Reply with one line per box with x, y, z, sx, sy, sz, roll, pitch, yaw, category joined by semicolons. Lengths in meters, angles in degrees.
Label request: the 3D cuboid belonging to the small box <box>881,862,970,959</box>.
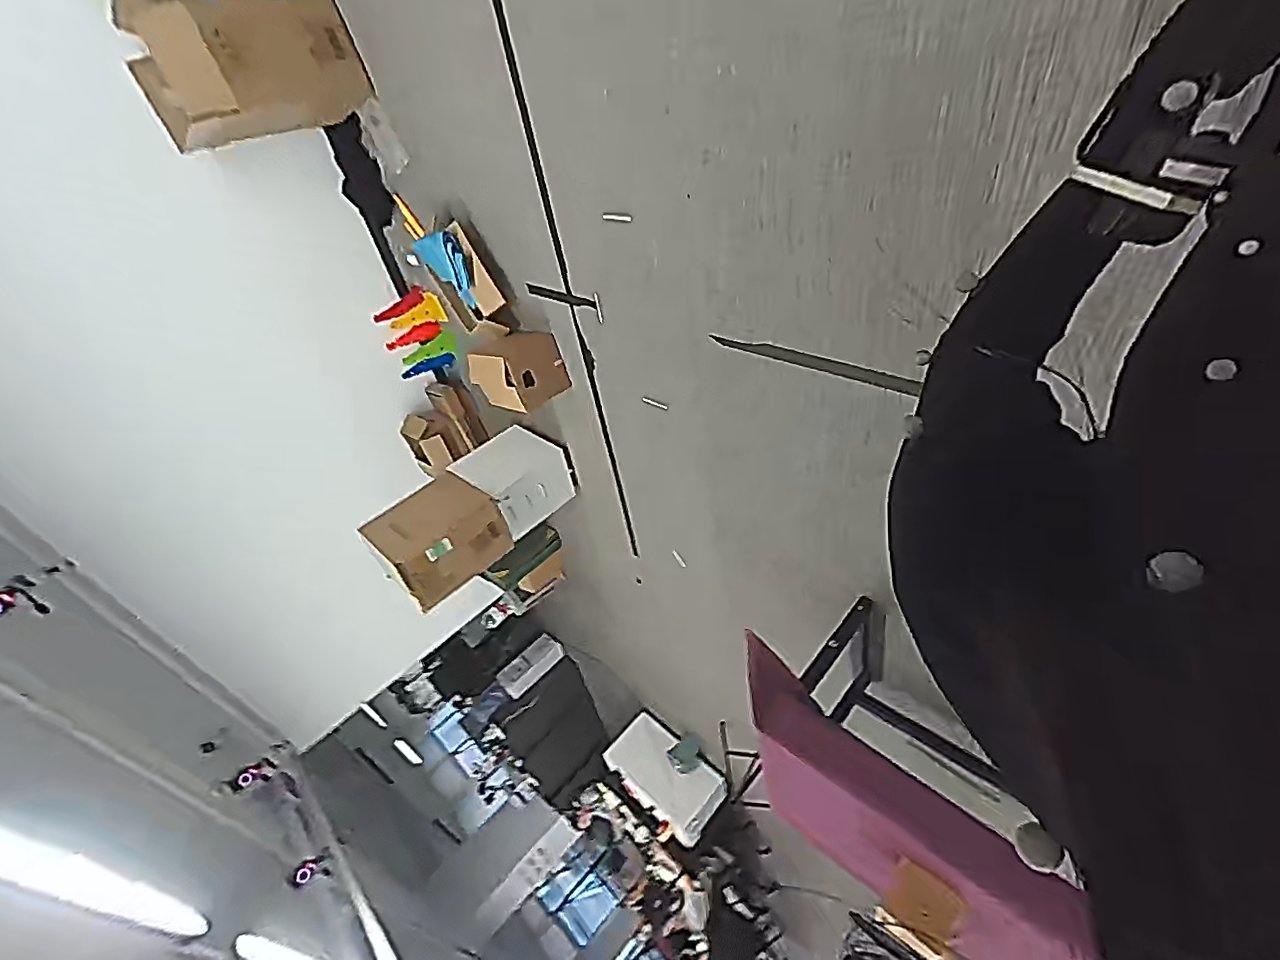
0.811;1.246;1.539;0.179;0.176;0.168;22;139;42;small box
